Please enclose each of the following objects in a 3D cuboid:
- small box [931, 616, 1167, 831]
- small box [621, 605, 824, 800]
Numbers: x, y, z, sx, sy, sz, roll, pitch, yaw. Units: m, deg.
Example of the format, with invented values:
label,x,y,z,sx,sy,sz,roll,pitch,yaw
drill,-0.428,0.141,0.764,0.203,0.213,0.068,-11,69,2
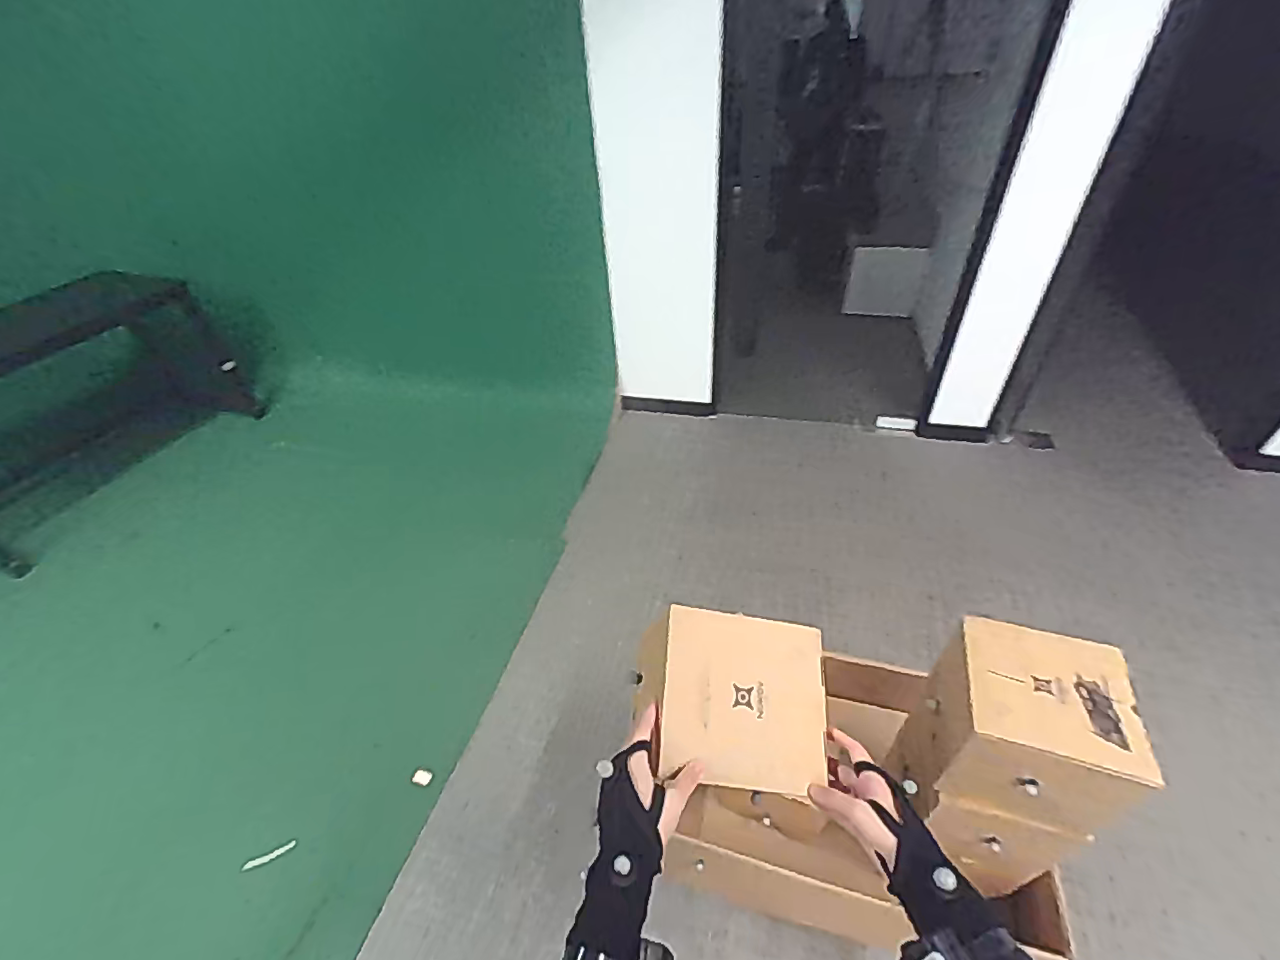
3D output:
label,x,y,z,sx,sy,sz,roll,pitch,yaw
small box,0.483,0.304,0.674,0.179,0.176,0.168,11,43,18
small box,0.087,0.252,0.615,0.179,0.176,0.168,11,63,-8
